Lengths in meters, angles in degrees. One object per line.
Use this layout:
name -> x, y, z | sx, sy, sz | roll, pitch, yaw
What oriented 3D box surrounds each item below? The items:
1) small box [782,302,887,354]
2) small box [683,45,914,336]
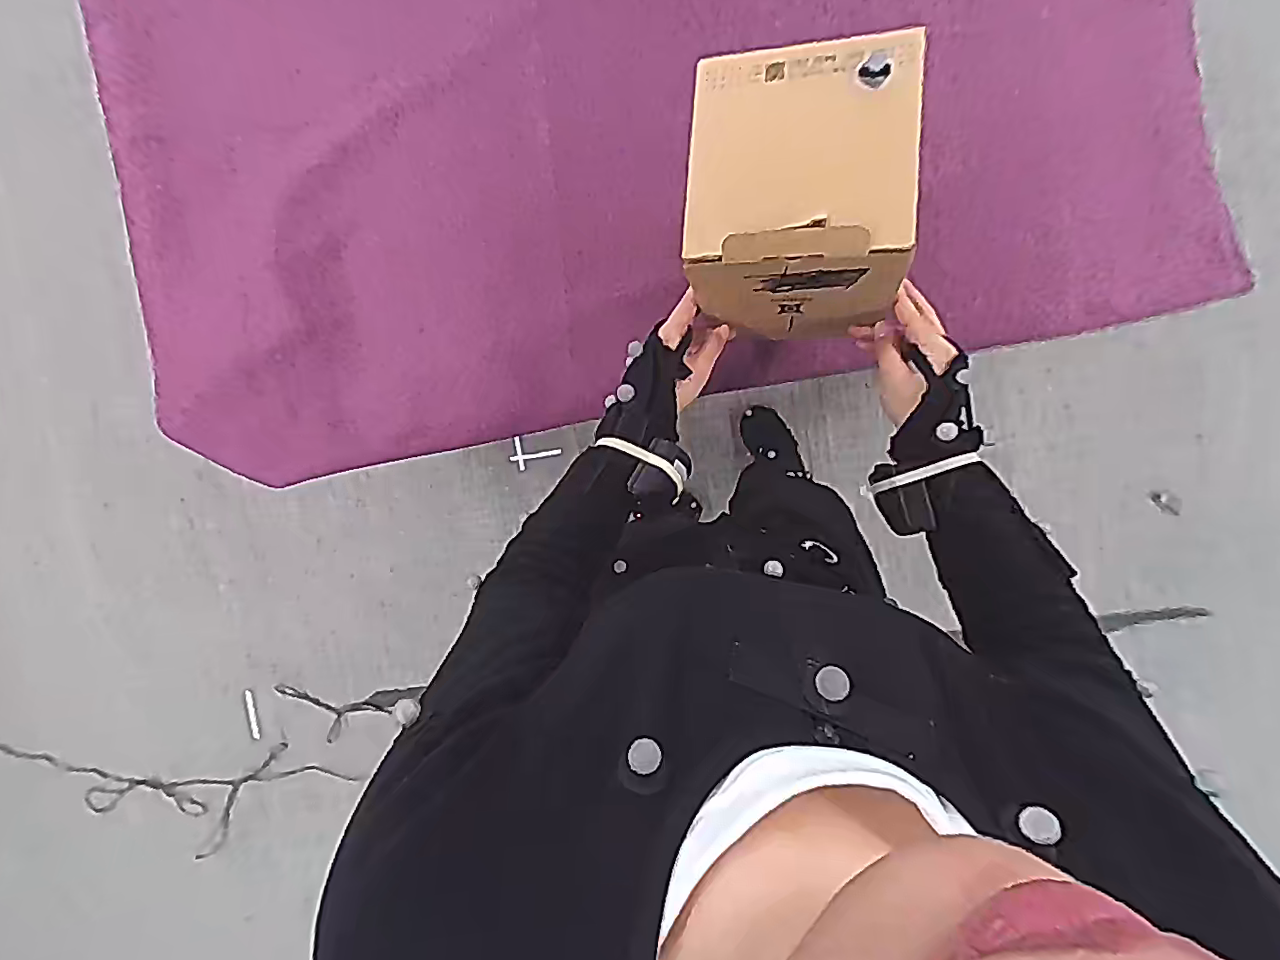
small box -> 0.390, -0.370, 1.133 | 0.179, 0.176, 0.168 | -10, 94, 5
small box -> 0.134, -0.241, 0.480 | 0.168, 0.179, 0.176 | 3, 86, 15
